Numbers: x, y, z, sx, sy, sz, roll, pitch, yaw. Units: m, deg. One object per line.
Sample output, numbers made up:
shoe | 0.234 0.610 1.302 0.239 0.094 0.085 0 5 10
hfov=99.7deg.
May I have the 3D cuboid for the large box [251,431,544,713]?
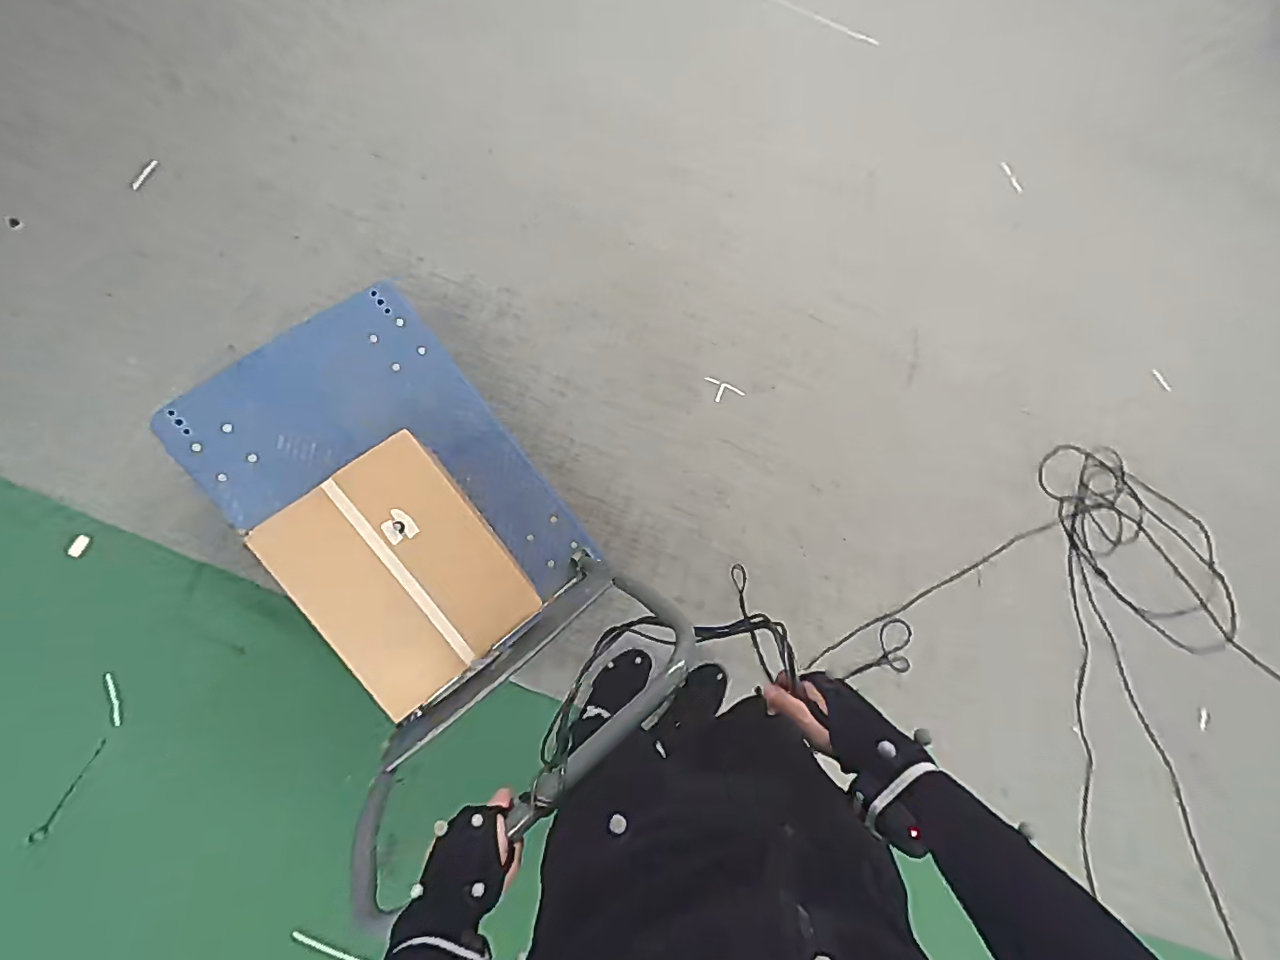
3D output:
large box | -0.439 0.168 1.084 0.320 0.320 0.408 -38 95 -14
